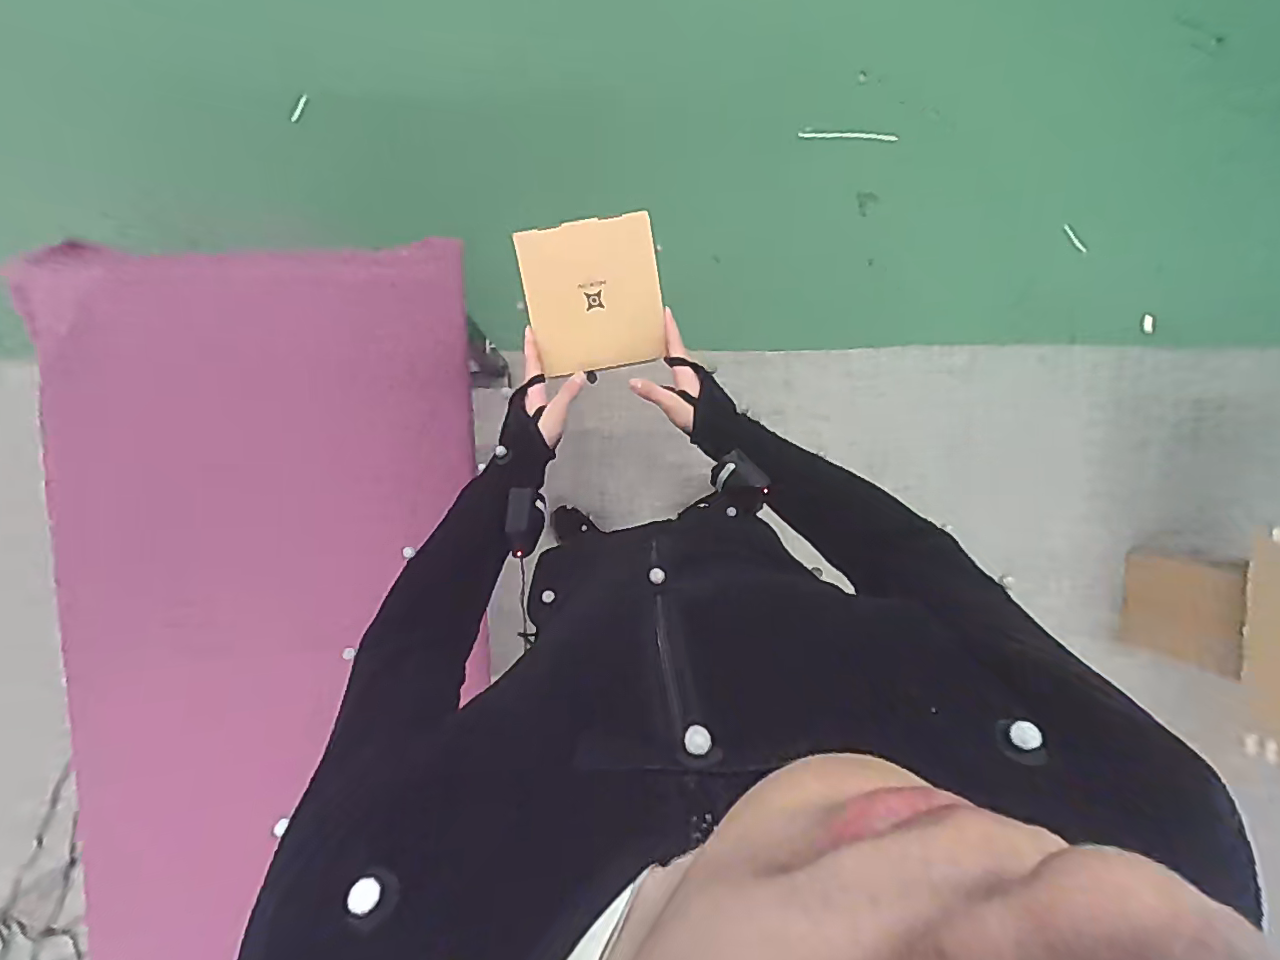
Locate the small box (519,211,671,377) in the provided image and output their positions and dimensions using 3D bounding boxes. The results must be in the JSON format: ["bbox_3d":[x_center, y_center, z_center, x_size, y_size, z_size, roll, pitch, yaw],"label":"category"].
[{"bbox_3d":[-0.056,-0.241,0.738,0.168,0.176,0.179,-10,100,-2],"label":"small box"}]
